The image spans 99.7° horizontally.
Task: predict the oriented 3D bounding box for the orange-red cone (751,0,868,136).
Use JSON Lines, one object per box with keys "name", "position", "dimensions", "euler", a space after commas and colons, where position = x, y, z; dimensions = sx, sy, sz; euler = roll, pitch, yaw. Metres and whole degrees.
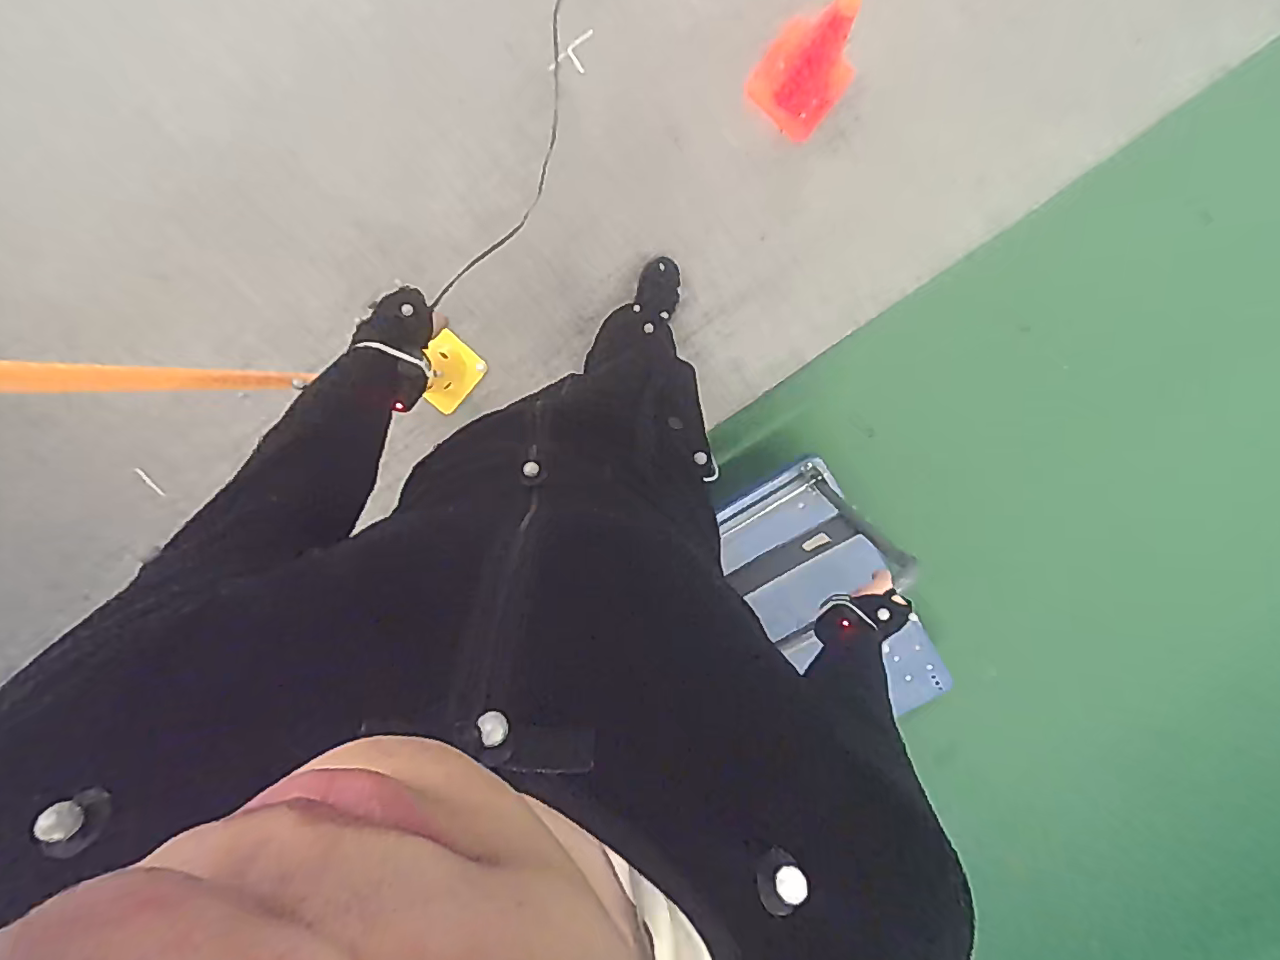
{"name": "orange-red cone", "position": [0.398, -0.933, 1.154], "dimensions": [0.198, 0.360, 0.199], "euler": [38, 102, -11]}
